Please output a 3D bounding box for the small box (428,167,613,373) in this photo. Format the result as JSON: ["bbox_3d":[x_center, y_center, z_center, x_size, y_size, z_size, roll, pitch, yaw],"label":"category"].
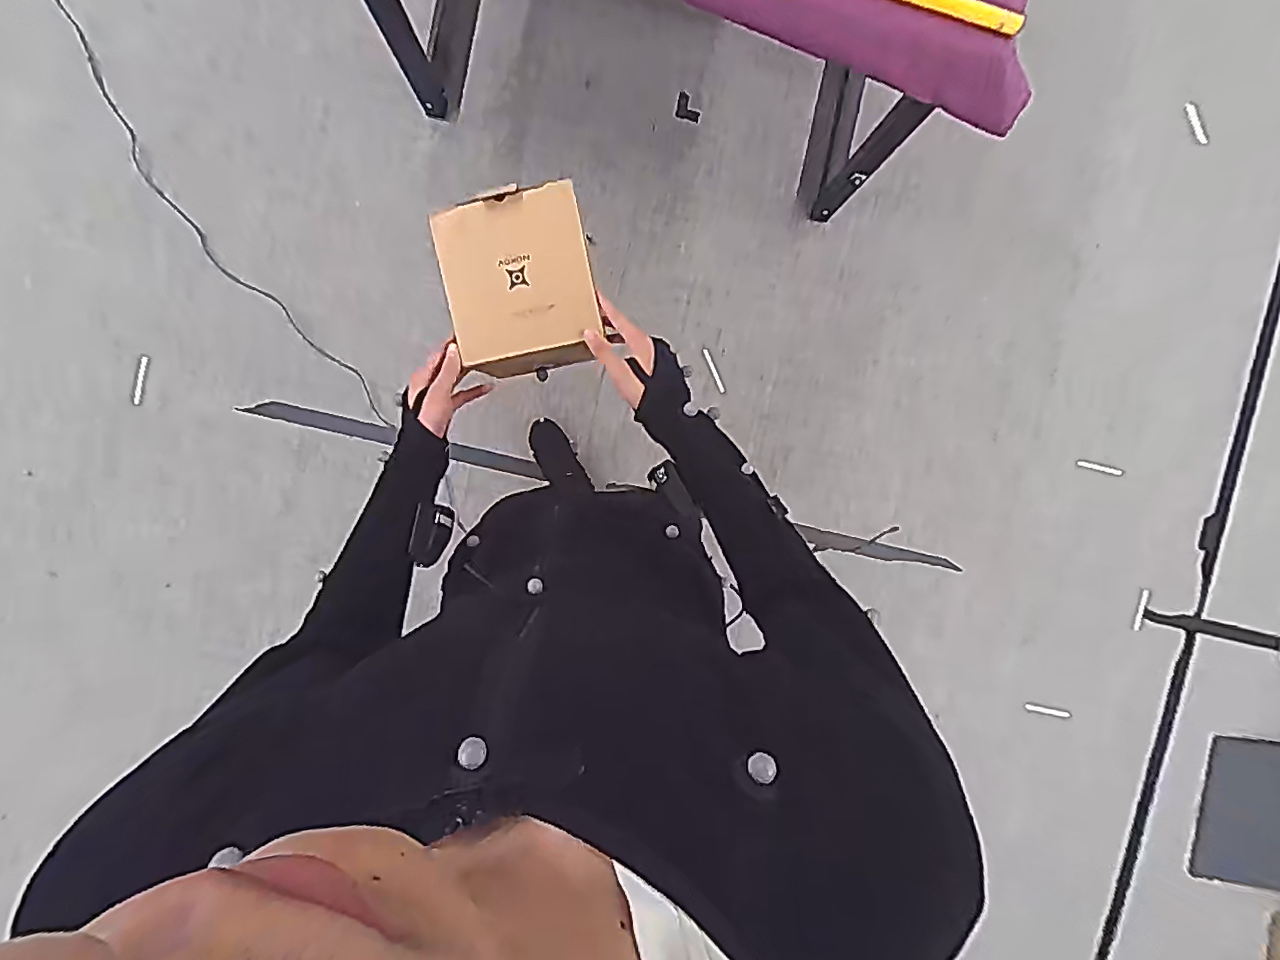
[{"bbox_3d":[-0.134,-0.243,0.669,0.168,0.176,0.179,-12,94,3],"label":"small box"}]
